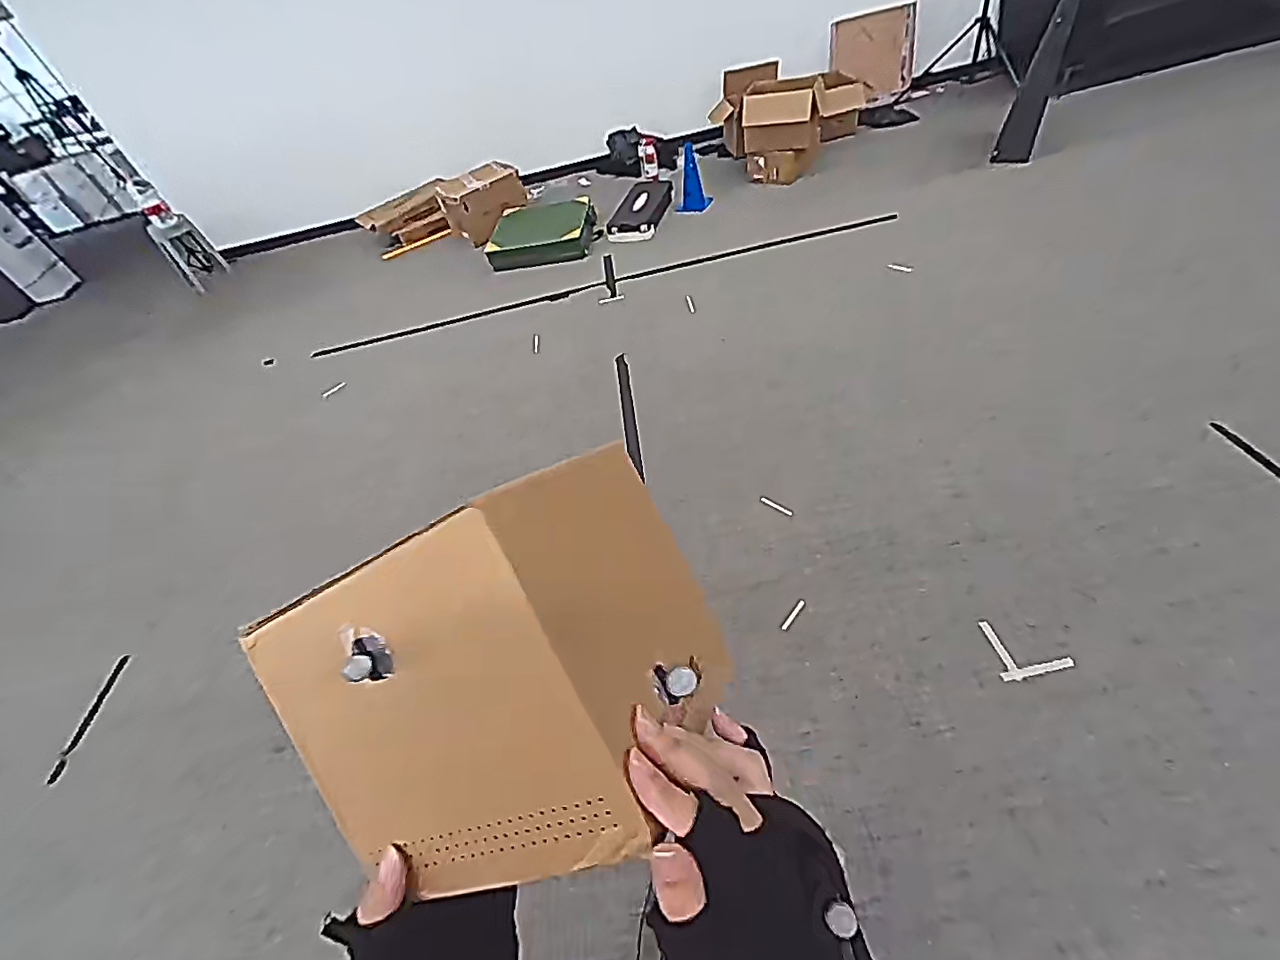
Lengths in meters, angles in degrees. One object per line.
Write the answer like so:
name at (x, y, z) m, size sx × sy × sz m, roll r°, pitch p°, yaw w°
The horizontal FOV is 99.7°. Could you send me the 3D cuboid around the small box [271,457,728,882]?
small box at (-0.071, 0.109, 0.337) m, size 0.179 × 0.176 × 0.168 m, roll -27°, pitch 3°, yaw 24°
